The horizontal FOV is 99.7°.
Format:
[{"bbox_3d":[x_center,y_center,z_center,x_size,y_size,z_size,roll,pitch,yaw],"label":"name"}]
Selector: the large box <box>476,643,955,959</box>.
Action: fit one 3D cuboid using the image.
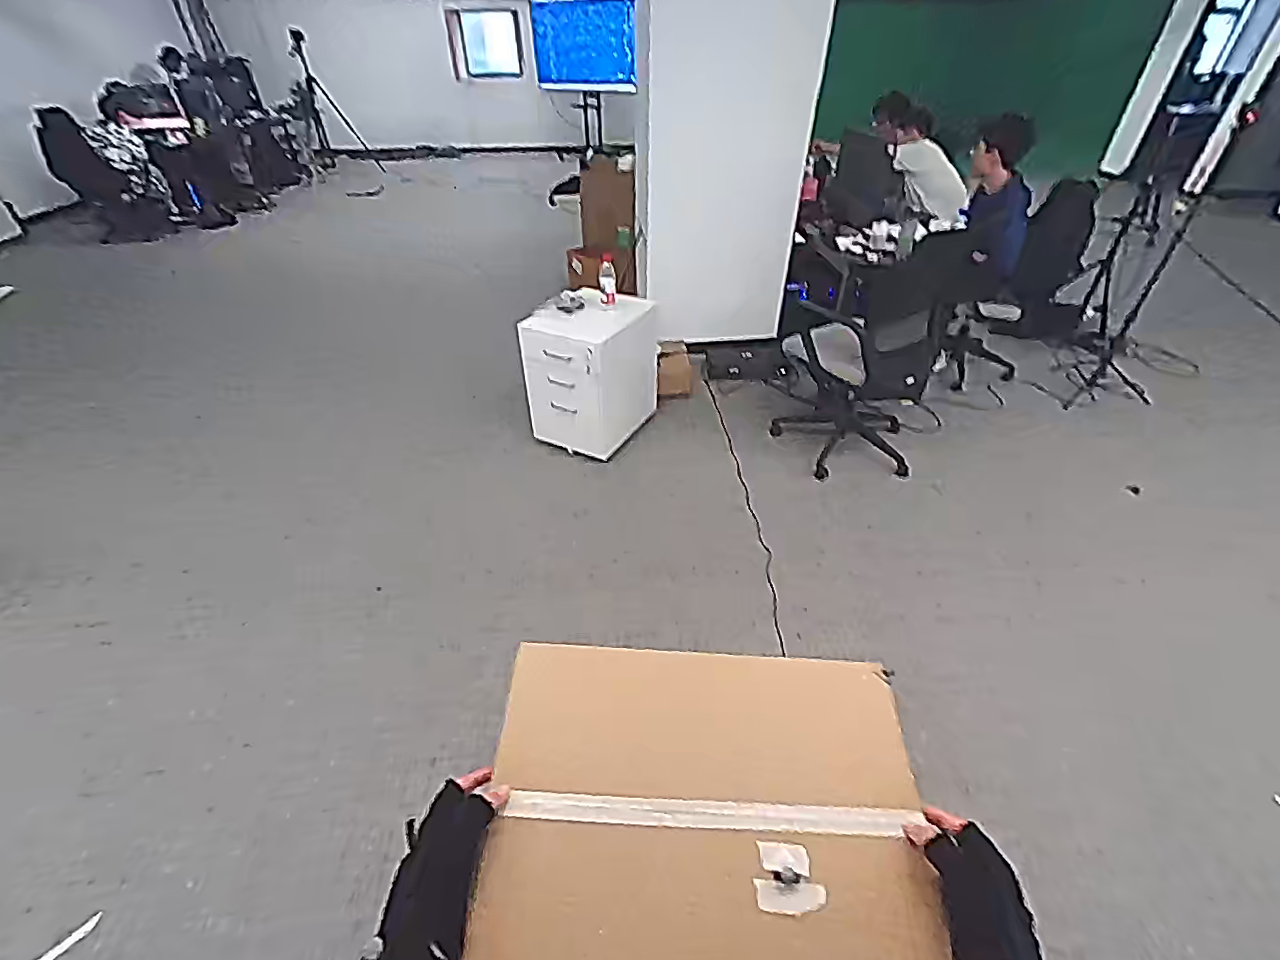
[{"bbox_3d":[0.062,0.411,0.627,0.408,0.320,0.320,4,49,0],"label":"large box"}]
